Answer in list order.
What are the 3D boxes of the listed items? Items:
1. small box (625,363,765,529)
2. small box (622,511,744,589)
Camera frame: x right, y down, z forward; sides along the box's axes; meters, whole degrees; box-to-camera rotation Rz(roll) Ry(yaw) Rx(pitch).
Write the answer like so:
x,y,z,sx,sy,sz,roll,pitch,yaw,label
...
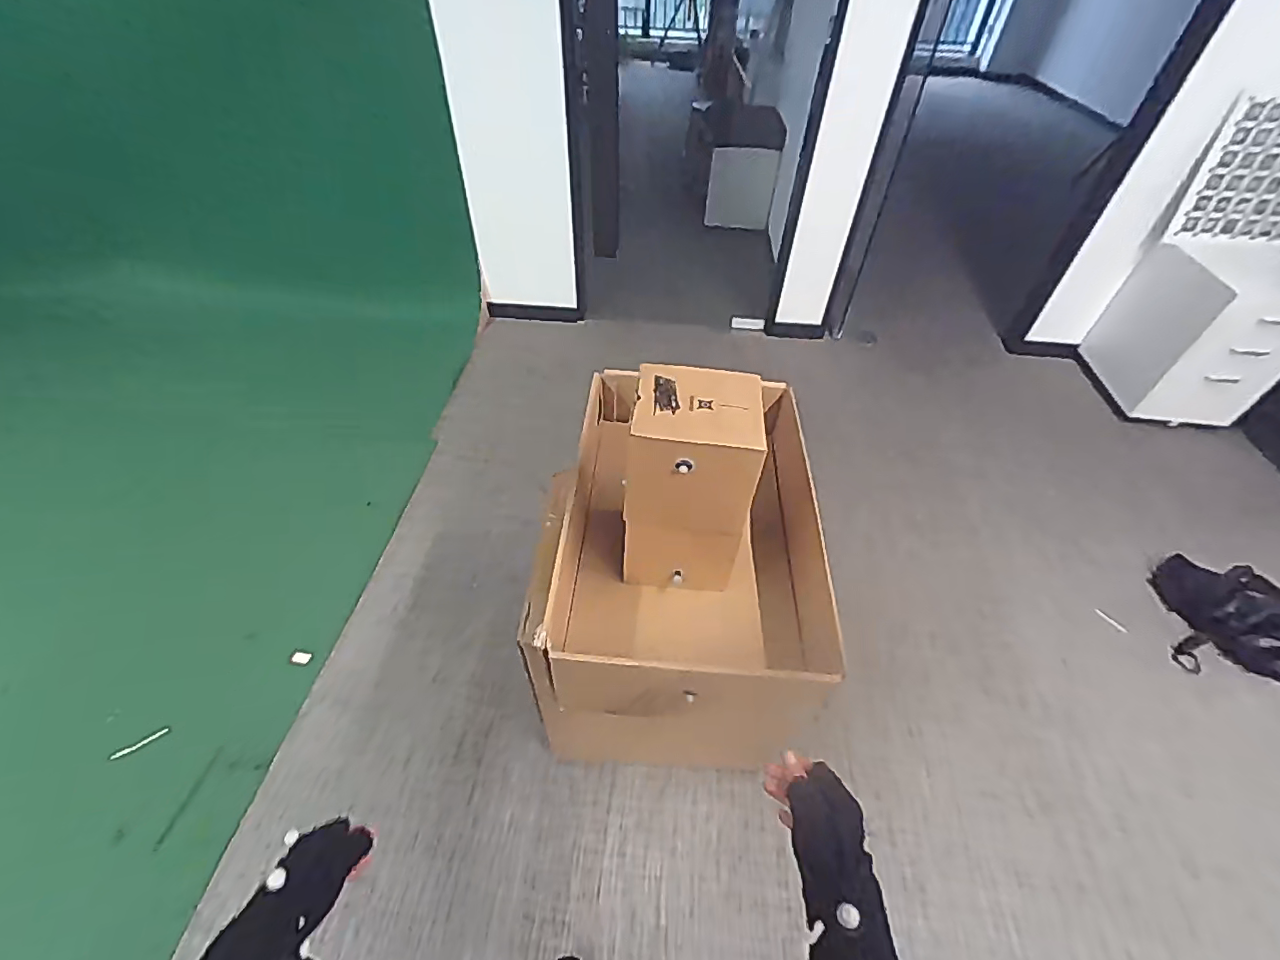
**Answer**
x,y,z,sx,sy,sz,roll,pitch,yaw,label
0.075,-0.047,0.785,0.179,0.176,0.168,7,46,2,small box
0.066,0.065,0.905,0.179,0.176,0.168,5,44,0,small box
